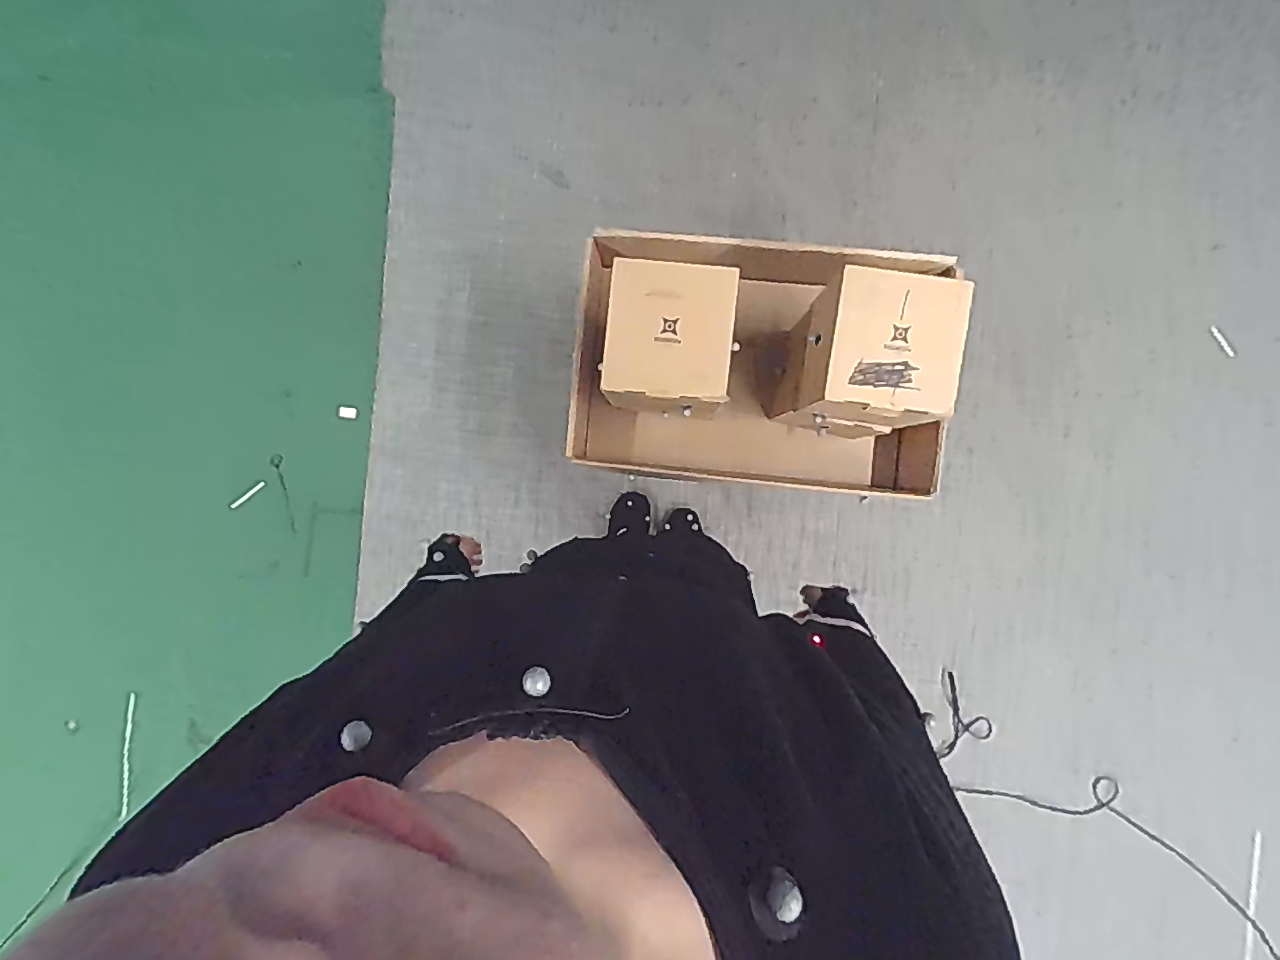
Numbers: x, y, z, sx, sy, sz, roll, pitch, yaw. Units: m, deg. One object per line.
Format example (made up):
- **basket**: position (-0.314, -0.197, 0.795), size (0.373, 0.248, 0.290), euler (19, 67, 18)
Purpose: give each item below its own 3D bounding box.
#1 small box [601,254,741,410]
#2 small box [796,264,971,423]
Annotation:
- **small box**: position (0.043, -0.200, 0.782), size (0.168, 0.176, 0.179), euler (7, 91, 1)
- **small box**: position (0.331, -0.182, 0.772), size (0.168, 0.176, 0.179), euler (9, 91, 2)
